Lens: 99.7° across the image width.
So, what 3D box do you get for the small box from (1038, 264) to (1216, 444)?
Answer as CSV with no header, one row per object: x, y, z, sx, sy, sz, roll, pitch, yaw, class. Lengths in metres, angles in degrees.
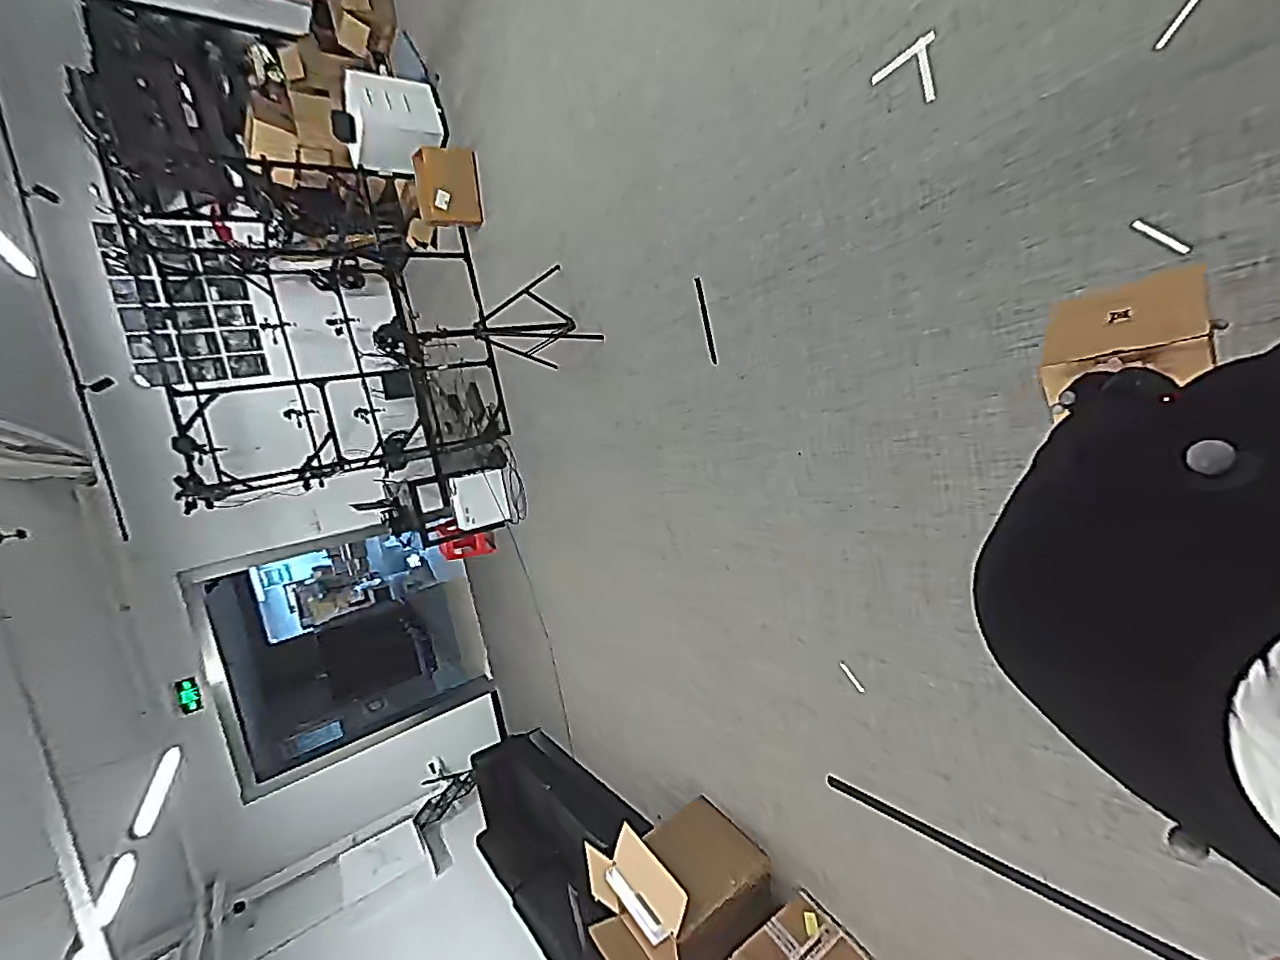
0.690,-0.164,0.766,0.168,0.179,0.176,-4,130,47,small box
